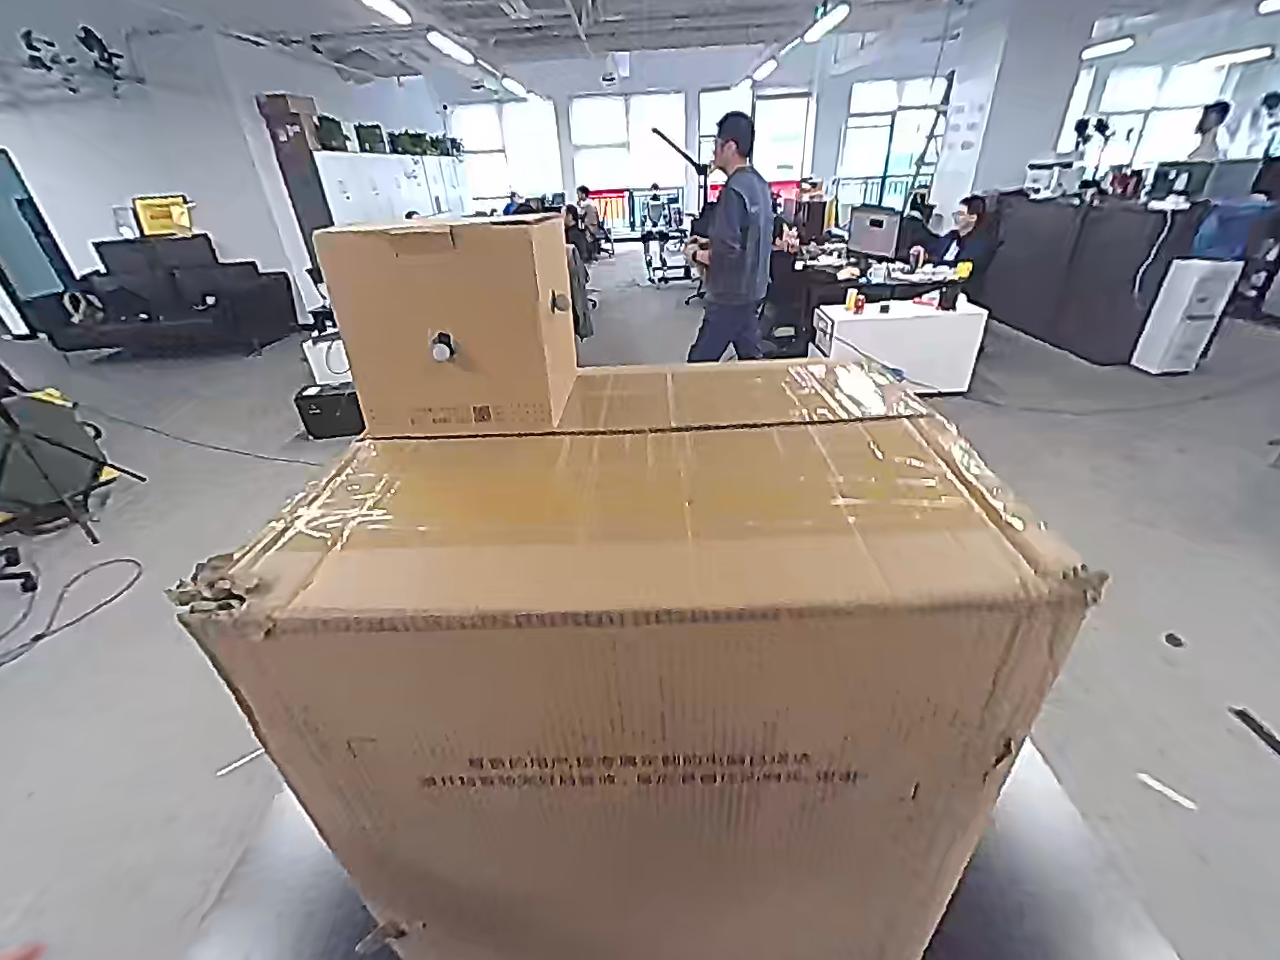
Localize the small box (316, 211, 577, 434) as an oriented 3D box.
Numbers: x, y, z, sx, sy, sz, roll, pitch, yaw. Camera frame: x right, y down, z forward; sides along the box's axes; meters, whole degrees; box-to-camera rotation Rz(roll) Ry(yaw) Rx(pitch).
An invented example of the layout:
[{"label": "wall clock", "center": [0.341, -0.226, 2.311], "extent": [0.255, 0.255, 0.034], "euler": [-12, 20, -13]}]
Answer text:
[{"label": "small box", "center": [-0.153, -0.149, 0.505], "extent": [0.168, 0.176, 0.179], "euler": [-2, 29, 1]}]
